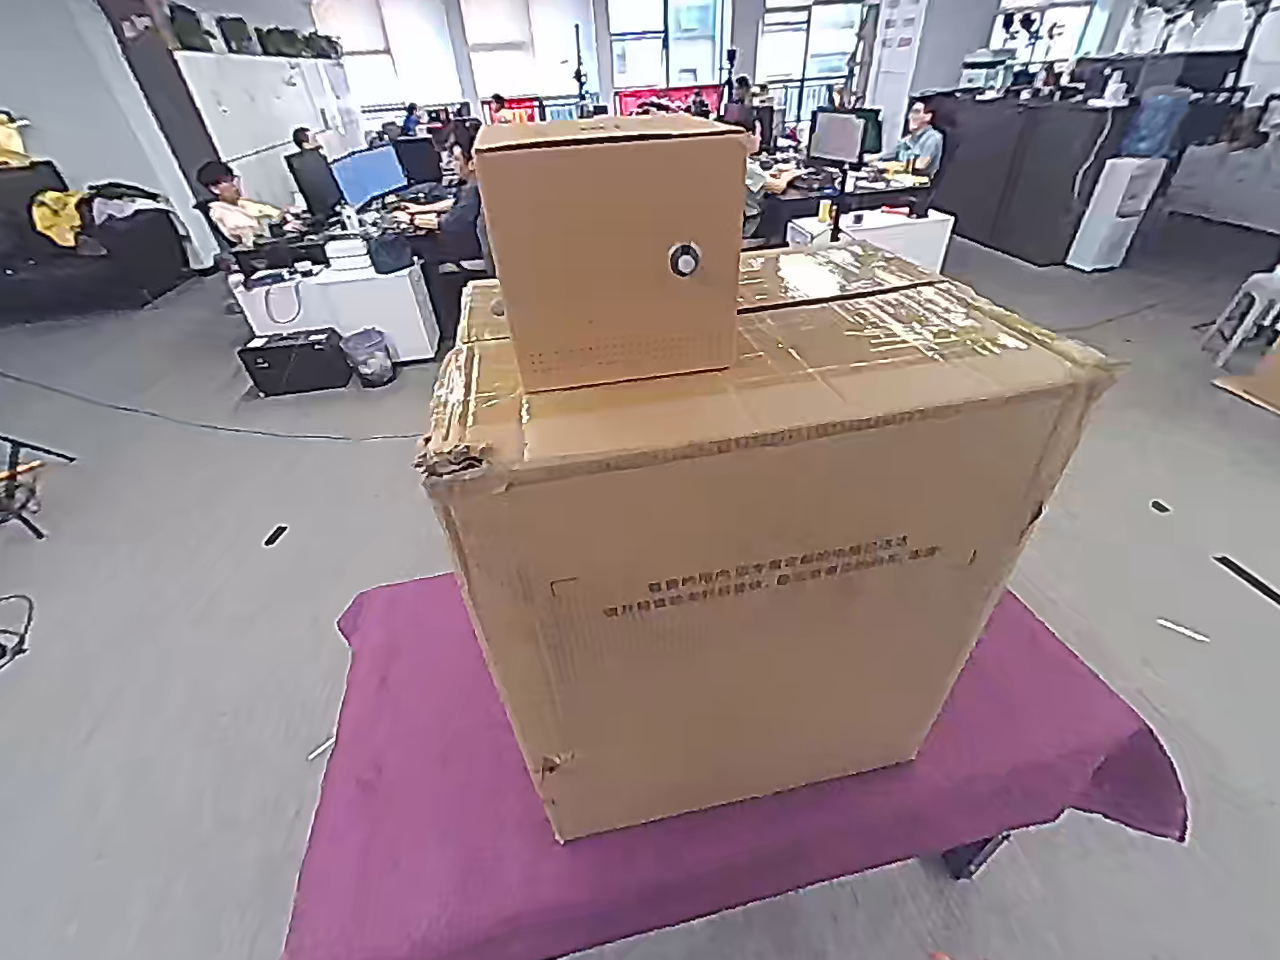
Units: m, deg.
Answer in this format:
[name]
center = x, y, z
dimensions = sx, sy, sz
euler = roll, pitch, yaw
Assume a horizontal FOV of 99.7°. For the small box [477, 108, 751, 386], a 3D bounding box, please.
[small box]
center = -0.024, -0.194, 0.444
dimensions = 0.179, 0.176, 0.168
euler = -10, 37, -7
